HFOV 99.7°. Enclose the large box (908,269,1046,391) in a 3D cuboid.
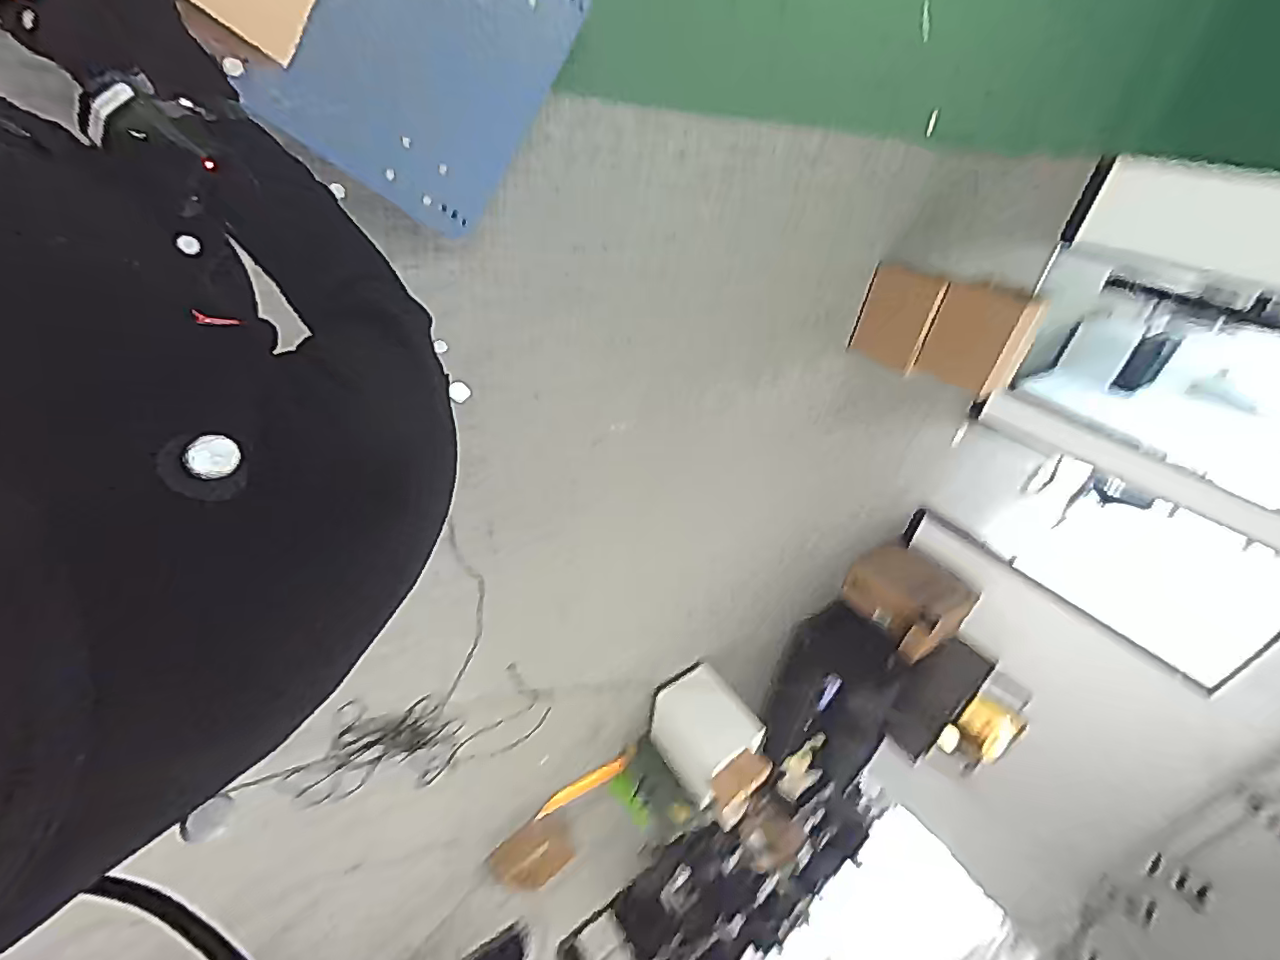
[{"bbox_3d":[1.445,-0.657,2.342,0.320,0.320,0.408,-20,135,-34],"label":"large box"}]
